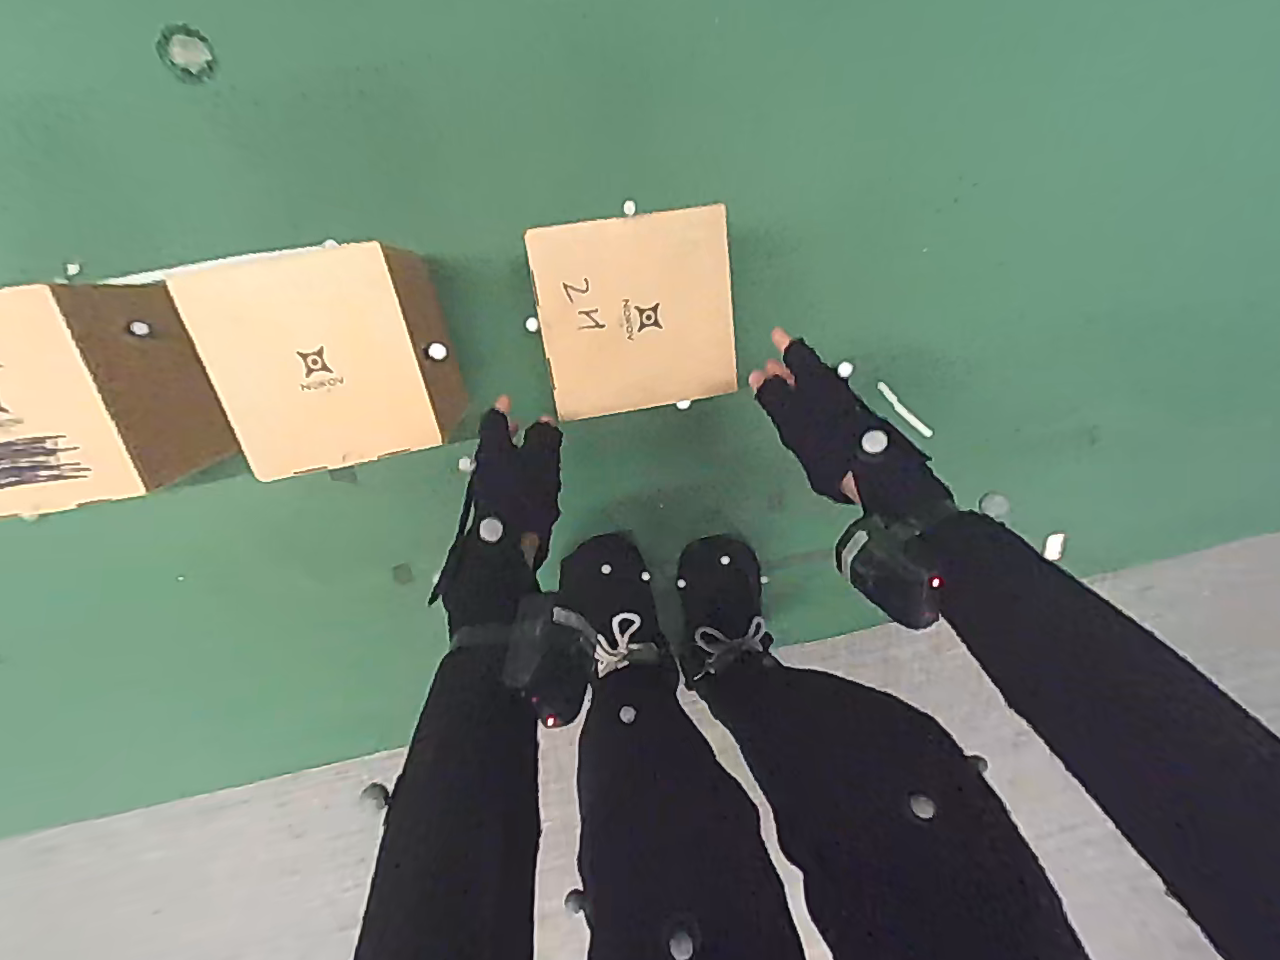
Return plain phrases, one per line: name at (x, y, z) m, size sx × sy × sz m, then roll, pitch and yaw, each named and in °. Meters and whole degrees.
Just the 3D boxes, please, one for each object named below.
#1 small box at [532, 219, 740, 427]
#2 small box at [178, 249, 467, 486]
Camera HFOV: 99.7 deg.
small box at (-0.011, -0.164, 0.556) m, size 0.179 × 0.176 × 0.168 m, roll -10°, pitch 110°, yaw -6°
small box at (-0.281, -0.116, 0.530) m, size 0.168 × 0.176 × 0.179 m, roll -12°, pitch 111°, yaw -5°
